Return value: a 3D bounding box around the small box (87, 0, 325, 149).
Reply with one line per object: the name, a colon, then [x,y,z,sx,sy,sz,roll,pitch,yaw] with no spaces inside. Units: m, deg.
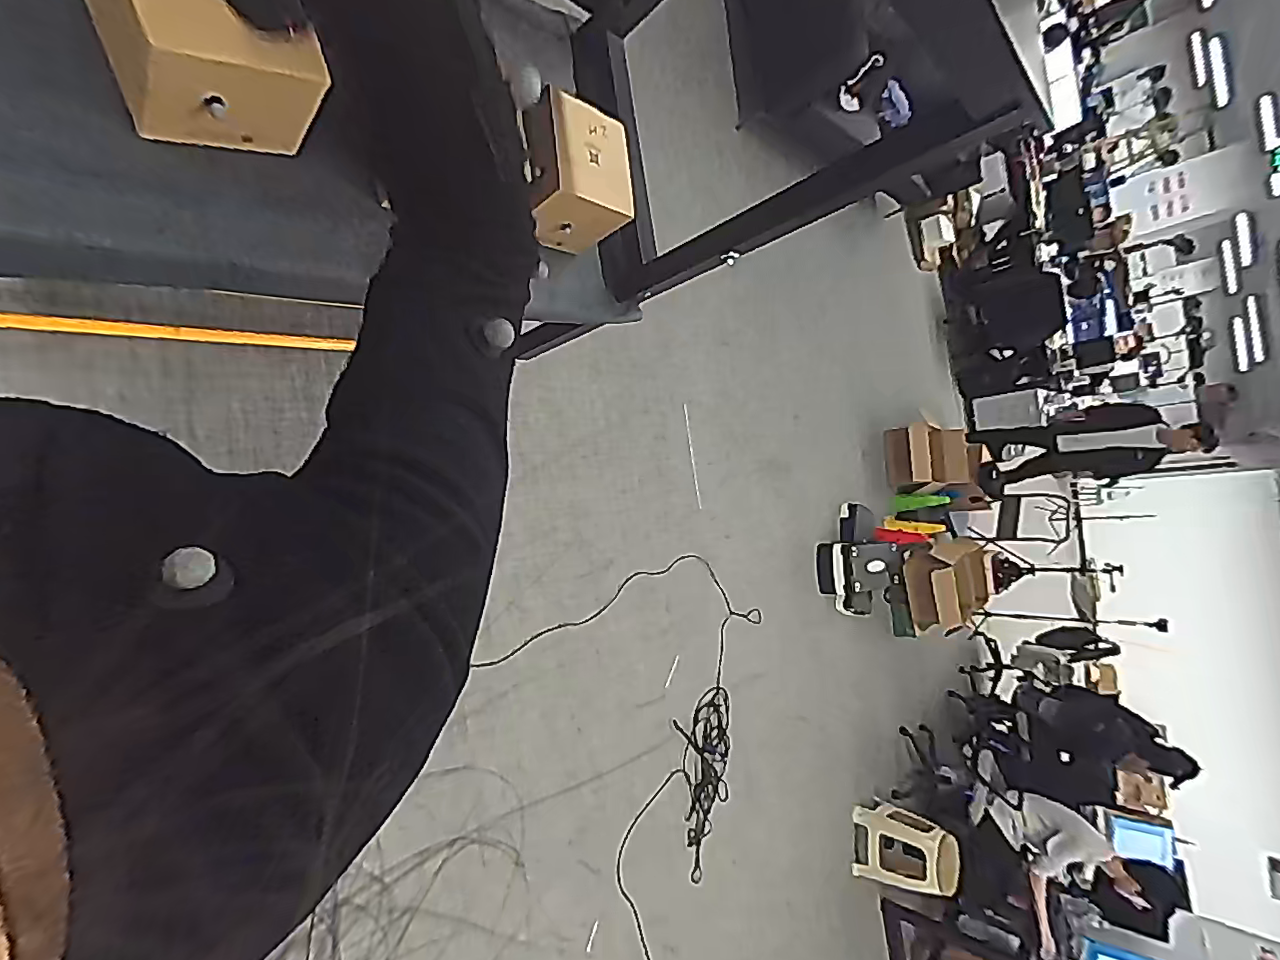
small box: [-0.491,-0.509,0.609,0.168,0.176,0.179,-24,101,-44]
